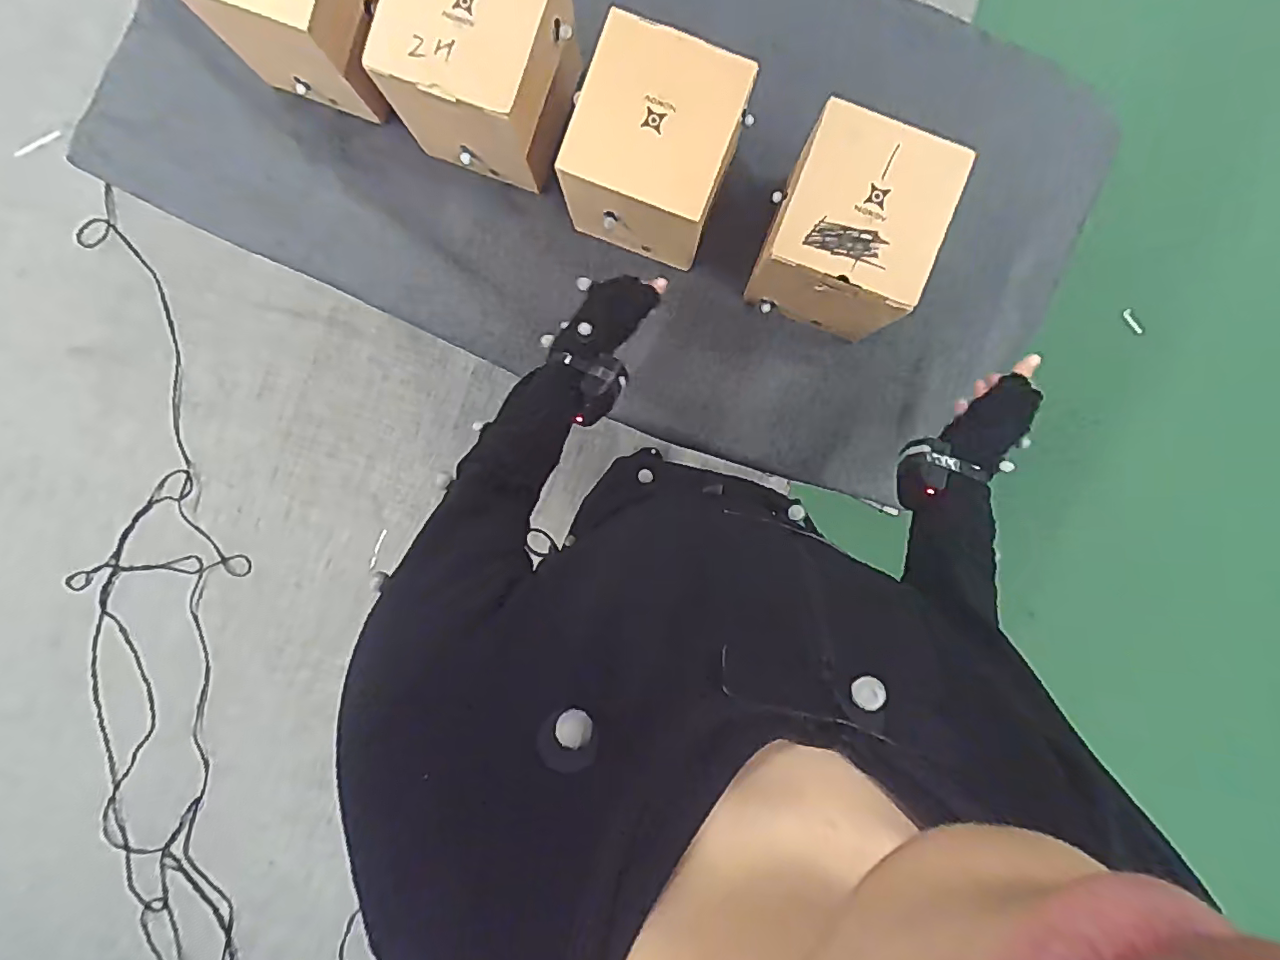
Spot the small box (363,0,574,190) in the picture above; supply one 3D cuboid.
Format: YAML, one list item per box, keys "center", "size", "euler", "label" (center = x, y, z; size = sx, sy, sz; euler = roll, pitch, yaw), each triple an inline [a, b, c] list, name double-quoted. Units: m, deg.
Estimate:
- center: [-0.183, -0.487, 0.637]
  size: [0.168, 0.176, 0.179]
  euler: [20, 93, 0]
  label: "small box"

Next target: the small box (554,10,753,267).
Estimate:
- center: [0.015, -0.382, 0.644]
  size: [0.168, 0.176, 0.179]
  euler: [21, 92, -1]
  label: "small box"
